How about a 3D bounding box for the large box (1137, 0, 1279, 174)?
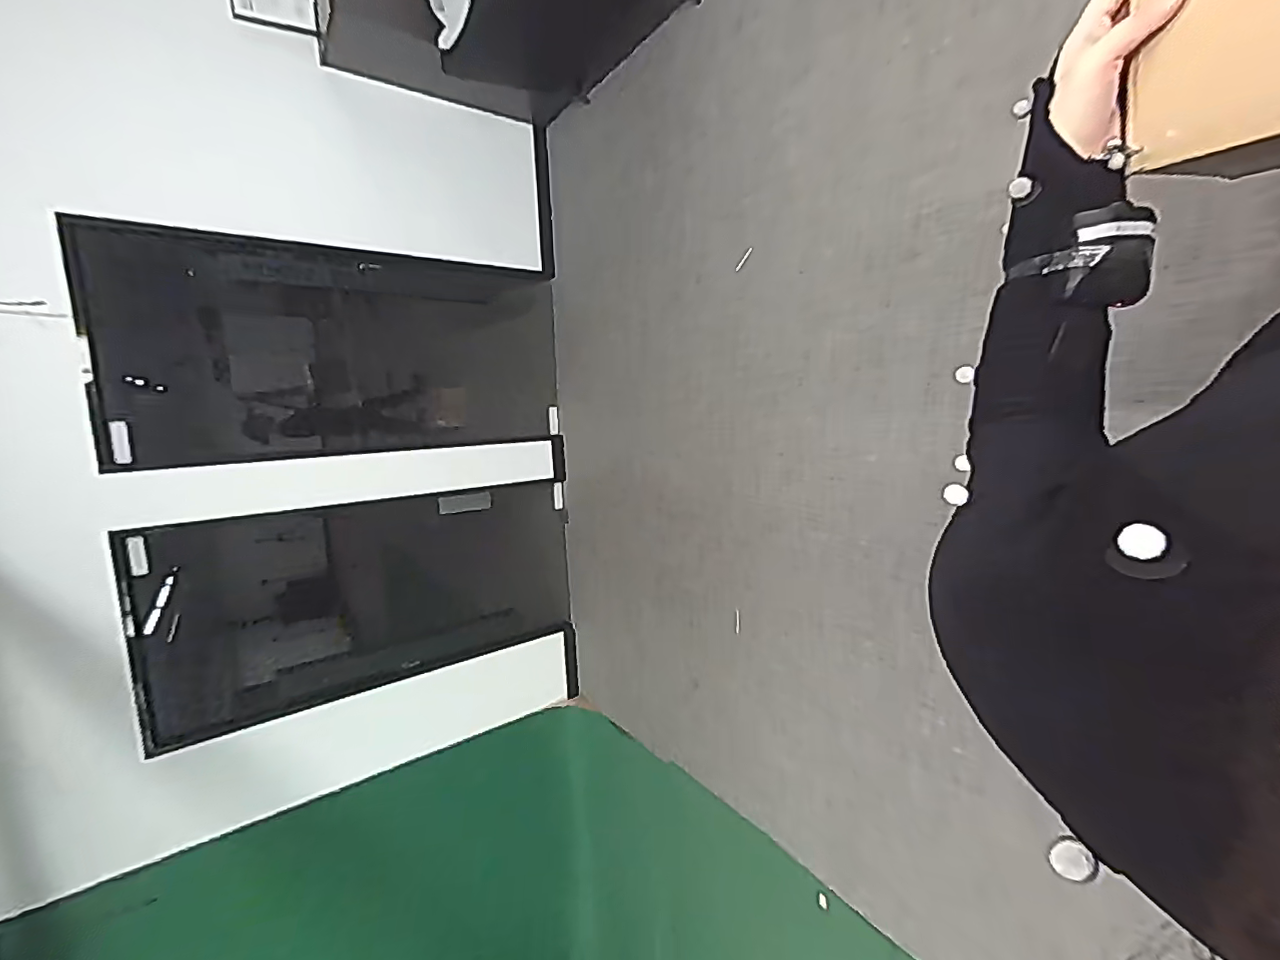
[{"bbox_3d":[0.576,-0.402,0.282,0.408,0.320,0.320,10,114,57],"label":"large box"}]
